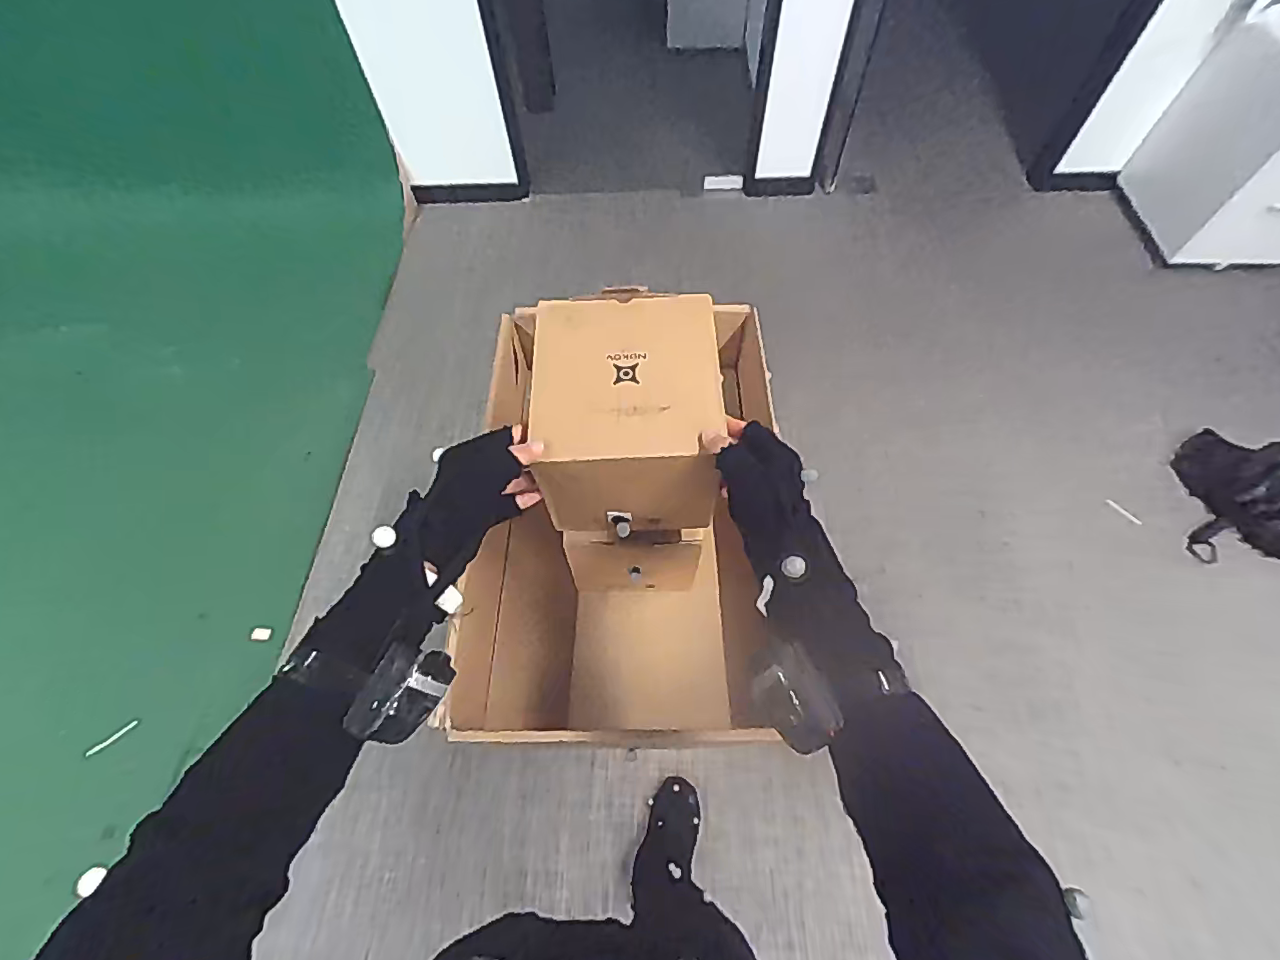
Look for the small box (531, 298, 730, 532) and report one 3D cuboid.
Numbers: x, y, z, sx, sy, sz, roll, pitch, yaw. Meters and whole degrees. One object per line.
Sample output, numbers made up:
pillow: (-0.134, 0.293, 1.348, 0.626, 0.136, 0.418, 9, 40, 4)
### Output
small box: (-0.009, -0.059, 0.549, 0.168, 0.176, 0.179, -2, 64, 0)
